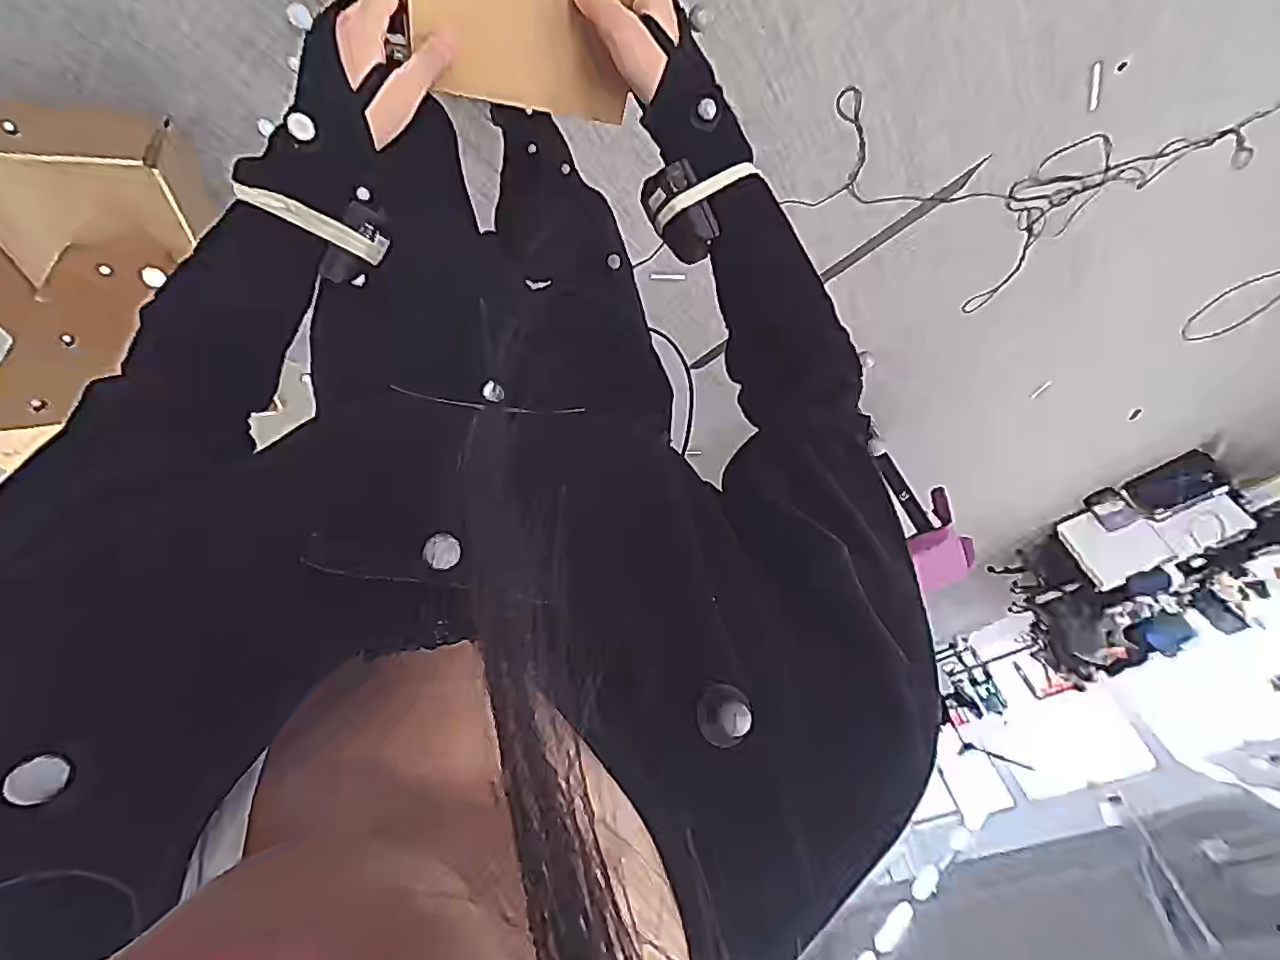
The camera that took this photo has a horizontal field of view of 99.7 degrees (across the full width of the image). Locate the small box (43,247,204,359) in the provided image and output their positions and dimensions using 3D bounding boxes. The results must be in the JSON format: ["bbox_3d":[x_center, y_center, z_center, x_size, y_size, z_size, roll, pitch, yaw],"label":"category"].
[{"bbox_3d":[-1.055,-0.366,1.125,0.179,0.176,0.168,-8,146,-17],"label":"small box"}]

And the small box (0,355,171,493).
[{"bbox_3d":[-0.972,-0.102,0.950,0.179,0.176,0.168,-10,145,-13],"label":"small box"}]

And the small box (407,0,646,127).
[{"bbox_3d":[-0.092,-0.412,0.413,0.168,0.176,0.179,-4,142,-21],"label":"small box"}]

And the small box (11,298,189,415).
[{"bbox_3d":[-1.016,-0.232,1.043,0.179,0.176,0.168,-9,145,-12],"label":"small box"}]
